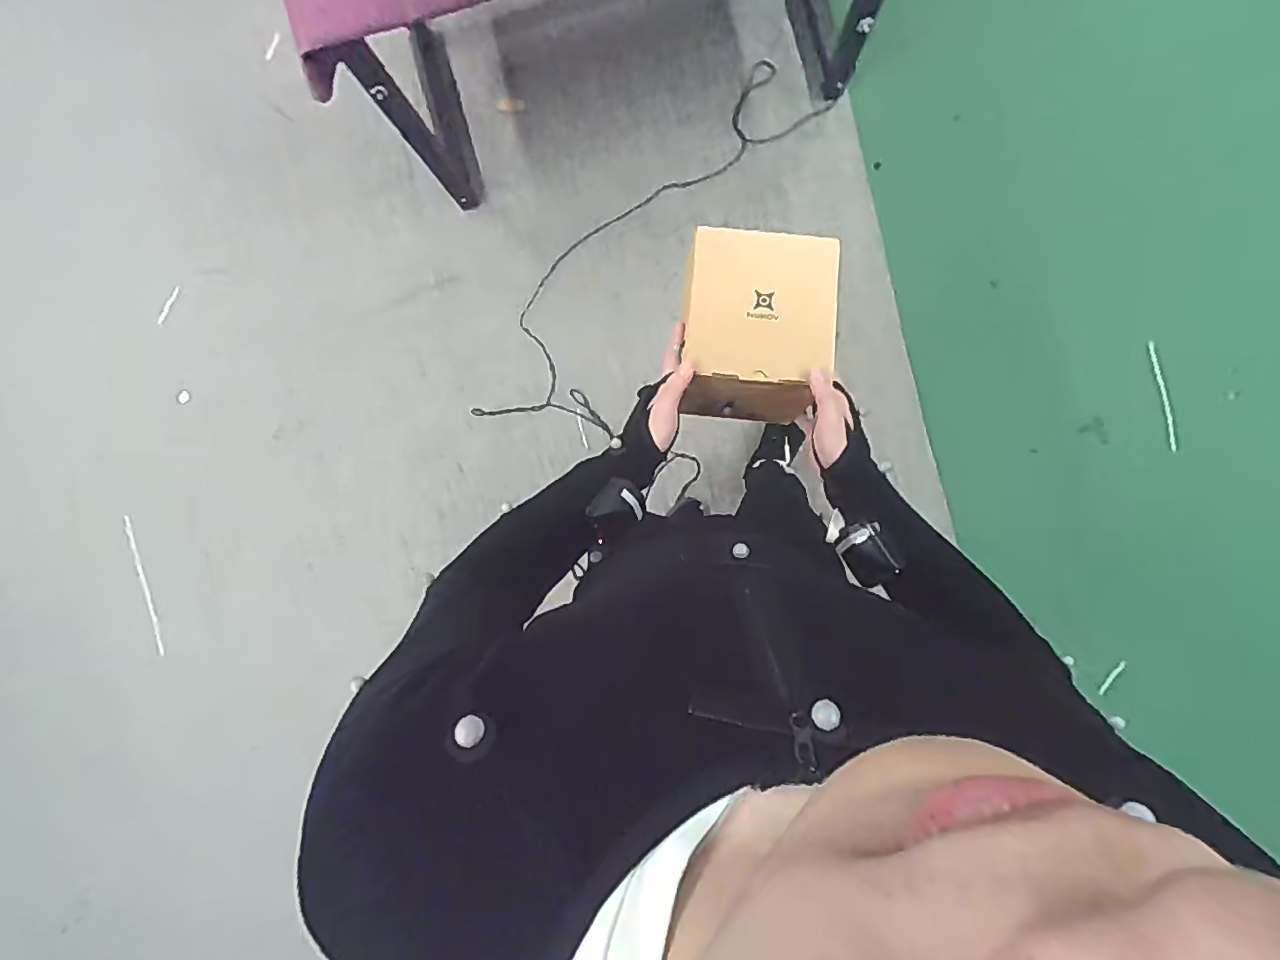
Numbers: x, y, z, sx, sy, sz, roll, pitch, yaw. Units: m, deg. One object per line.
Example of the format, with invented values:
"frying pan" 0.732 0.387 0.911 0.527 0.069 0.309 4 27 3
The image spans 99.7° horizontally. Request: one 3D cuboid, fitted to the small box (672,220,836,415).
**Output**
"small box" 0.132 -0.191 0.678 0.168 0.176 0.179 4 84 0
